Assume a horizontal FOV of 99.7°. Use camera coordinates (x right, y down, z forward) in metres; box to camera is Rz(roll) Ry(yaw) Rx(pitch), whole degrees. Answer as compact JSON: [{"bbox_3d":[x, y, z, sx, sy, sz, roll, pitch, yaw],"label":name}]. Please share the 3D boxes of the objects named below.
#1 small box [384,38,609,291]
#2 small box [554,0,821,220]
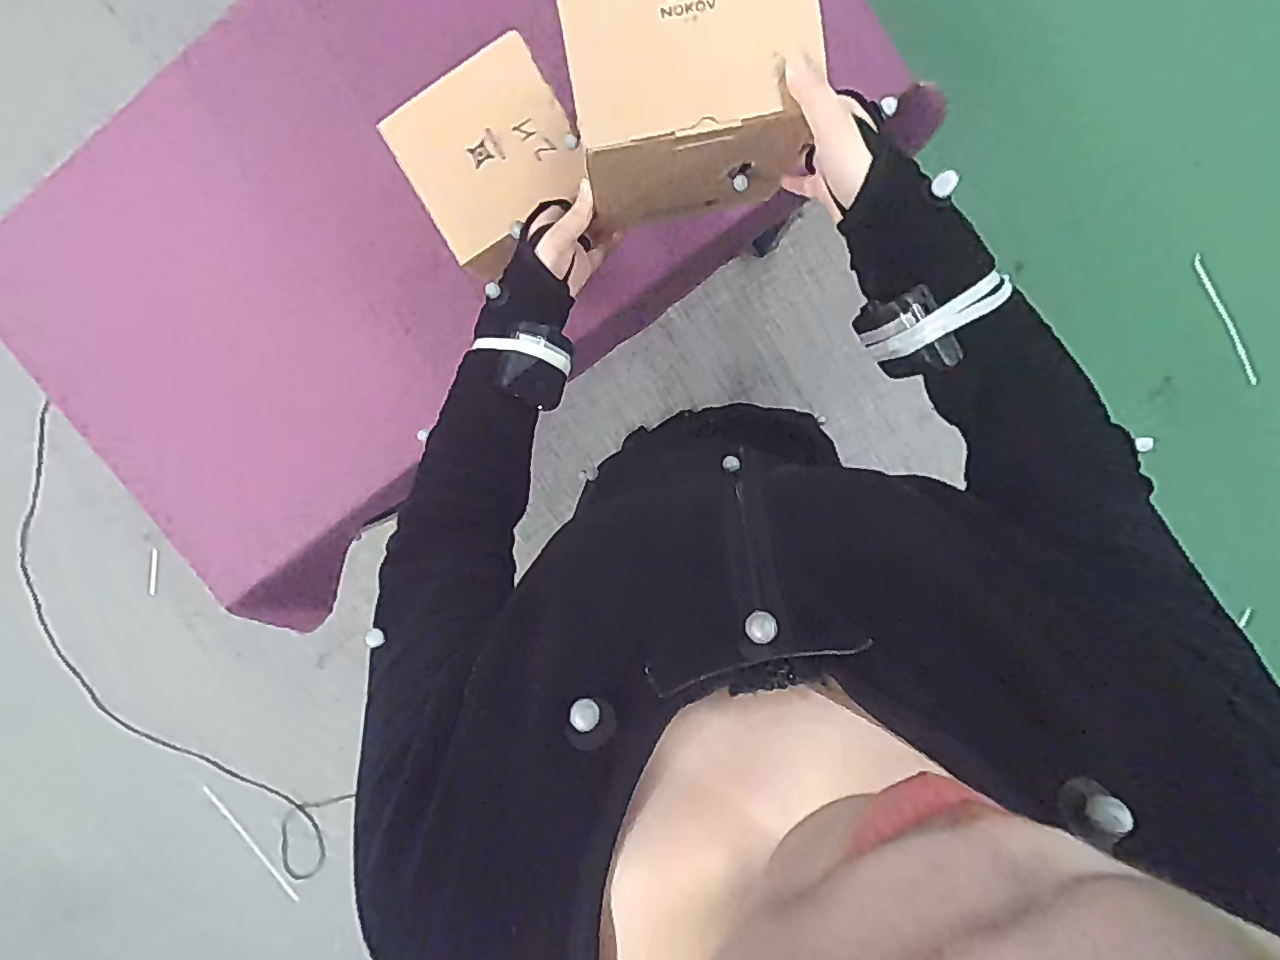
[{"bbox_3d":[-0.154,-0.352,0.646,0.179,0.176,0.168,-30,96,7],"label":"small box"},{"bbox_3d":[0.028,-0.325,0.426,0.168,0.176,0.179,-10,97,2],"label":"small box"}]
